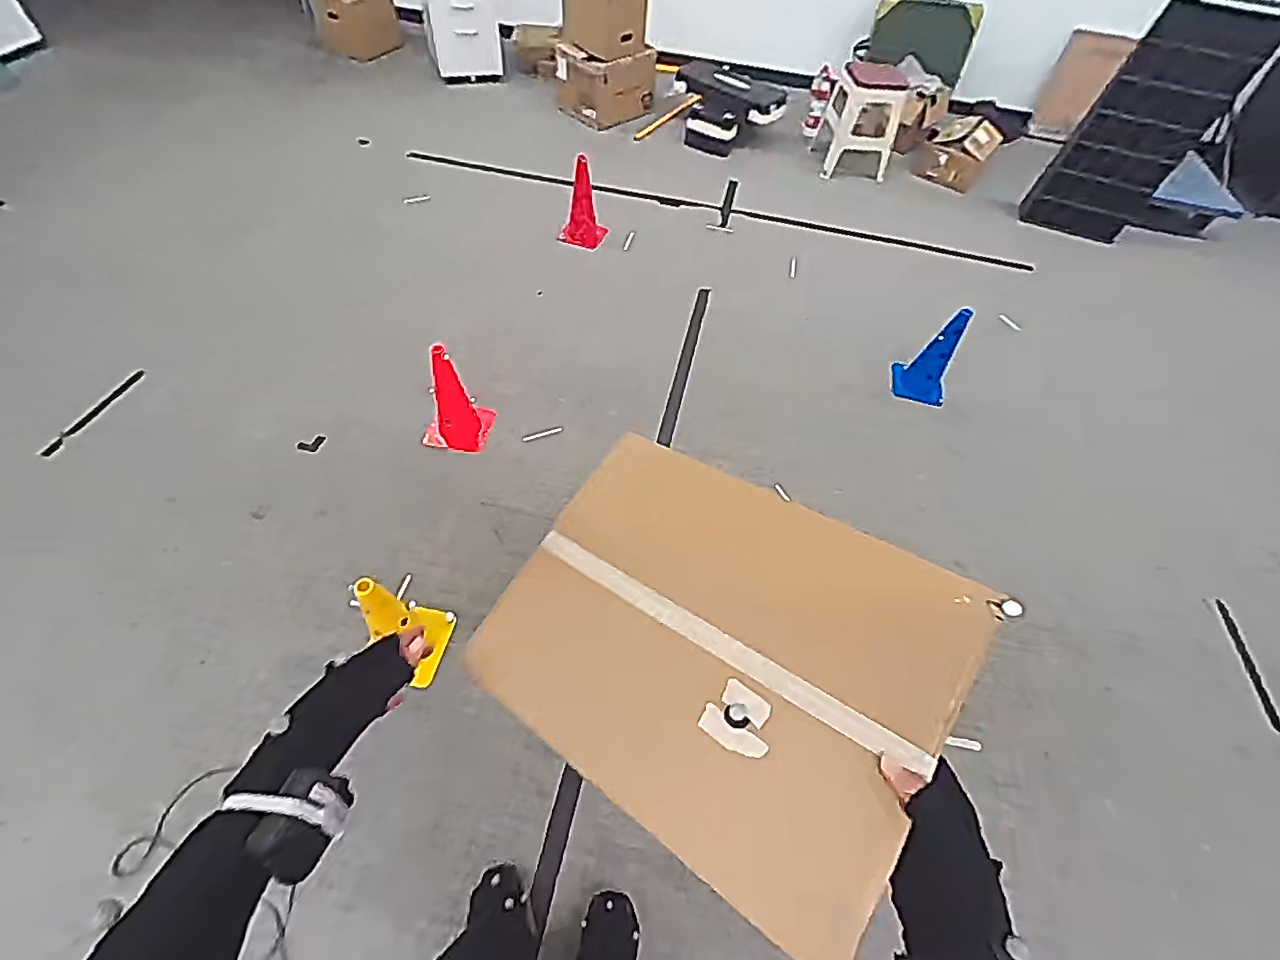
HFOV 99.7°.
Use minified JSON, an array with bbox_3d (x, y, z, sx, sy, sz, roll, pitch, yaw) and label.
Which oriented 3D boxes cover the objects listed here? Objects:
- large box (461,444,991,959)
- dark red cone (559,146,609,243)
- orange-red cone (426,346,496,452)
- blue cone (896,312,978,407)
[{"bbox_3d":[0.092,0.220,0.624,0.408,0.320,0.320,26,71,28],"label":"large box"},{"bbox_3d":[-0.251,-1.298,2.455,0.201,0.394,0.202,18,55,6],"label":"dark red cone"},{"bbox_3d":[-0.605,-0.280,1.729,0.198,0.360,0.199,10,56,3],"label":"orange-red cone"},{"bbox_3d":[1.144,-0.473,2.052,0.192,0.380,0.193,16,55,5],"label":"blue cone"}]
